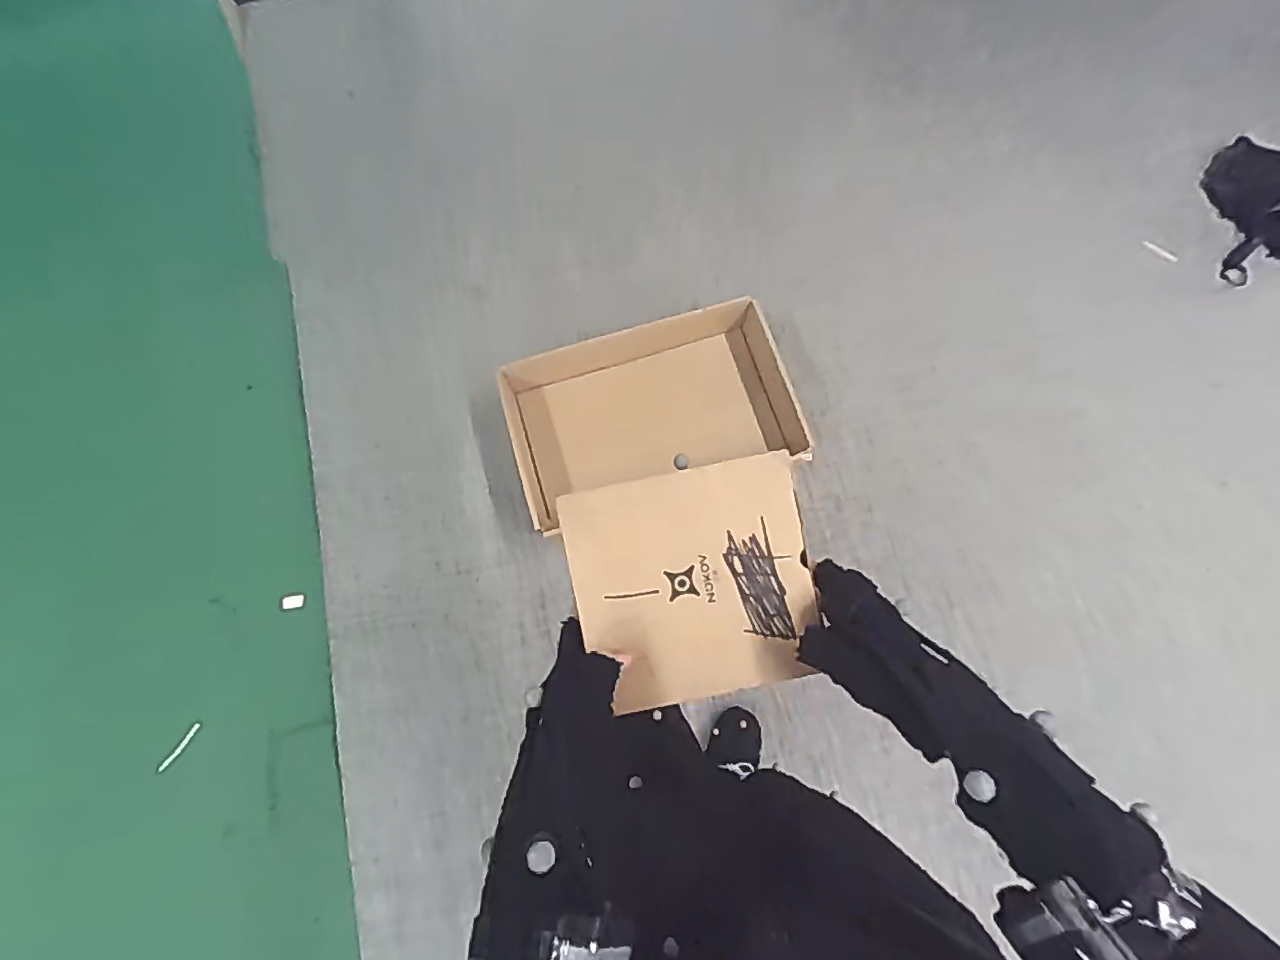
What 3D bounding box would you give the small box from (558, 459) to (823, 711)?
[{"bbox_3d":[0.039,0.079,0.486,0.179,0.176,0.168,-12,88,2],"label":"small box"}]
